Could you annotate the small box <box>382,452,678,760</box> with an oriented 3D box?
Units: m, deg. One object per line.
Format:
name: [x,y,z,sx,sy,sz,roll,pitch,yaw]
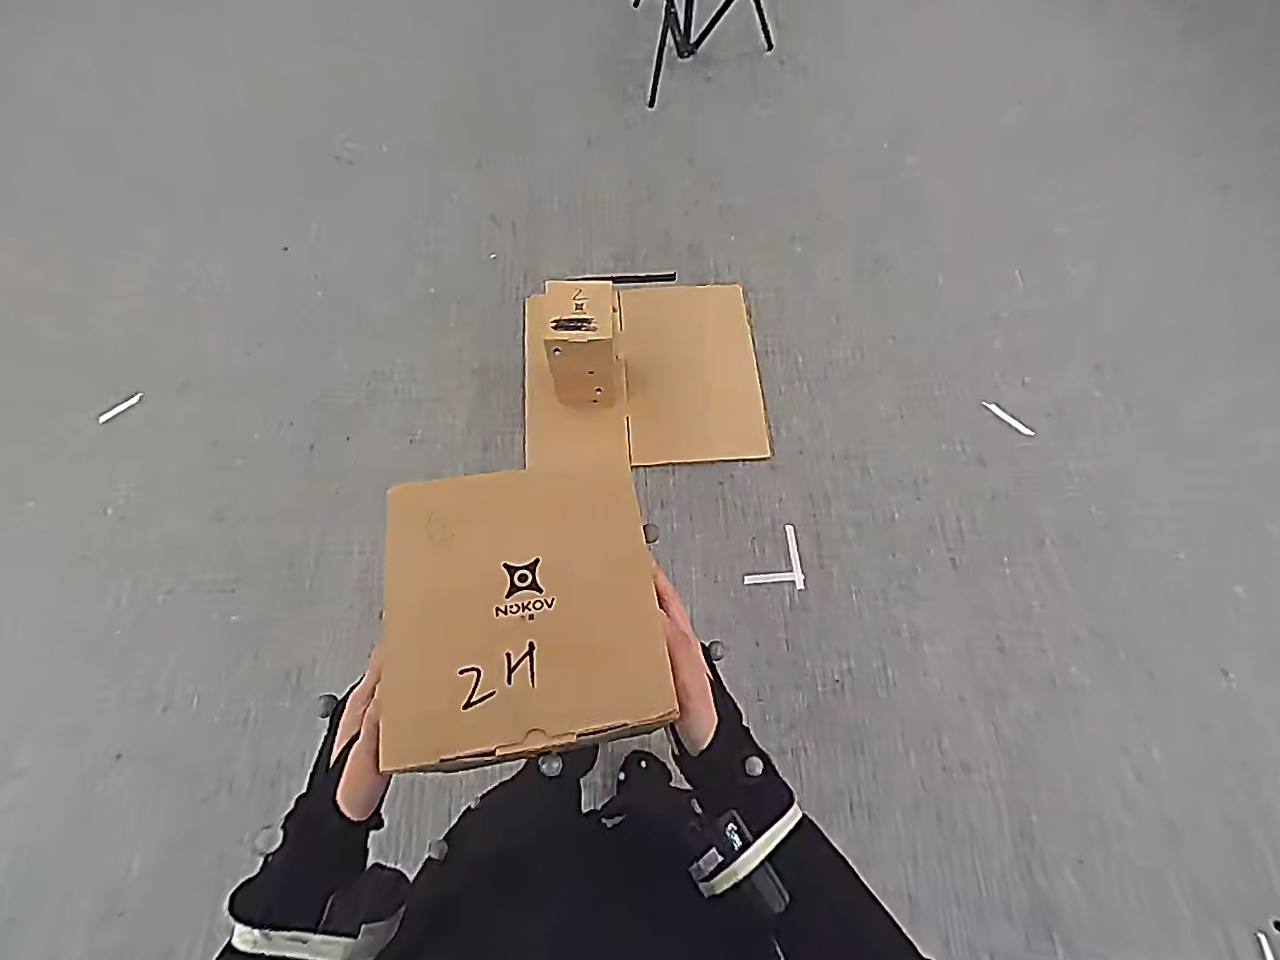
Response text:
small box: [-0.078,0.101,0.408,0.168,0.176,0.179,-7,64,-8]

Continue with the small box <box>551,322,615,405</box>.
small box: [-0.157,-0.326,1.539,0.168,0.176,0.179,0,69,-2]
